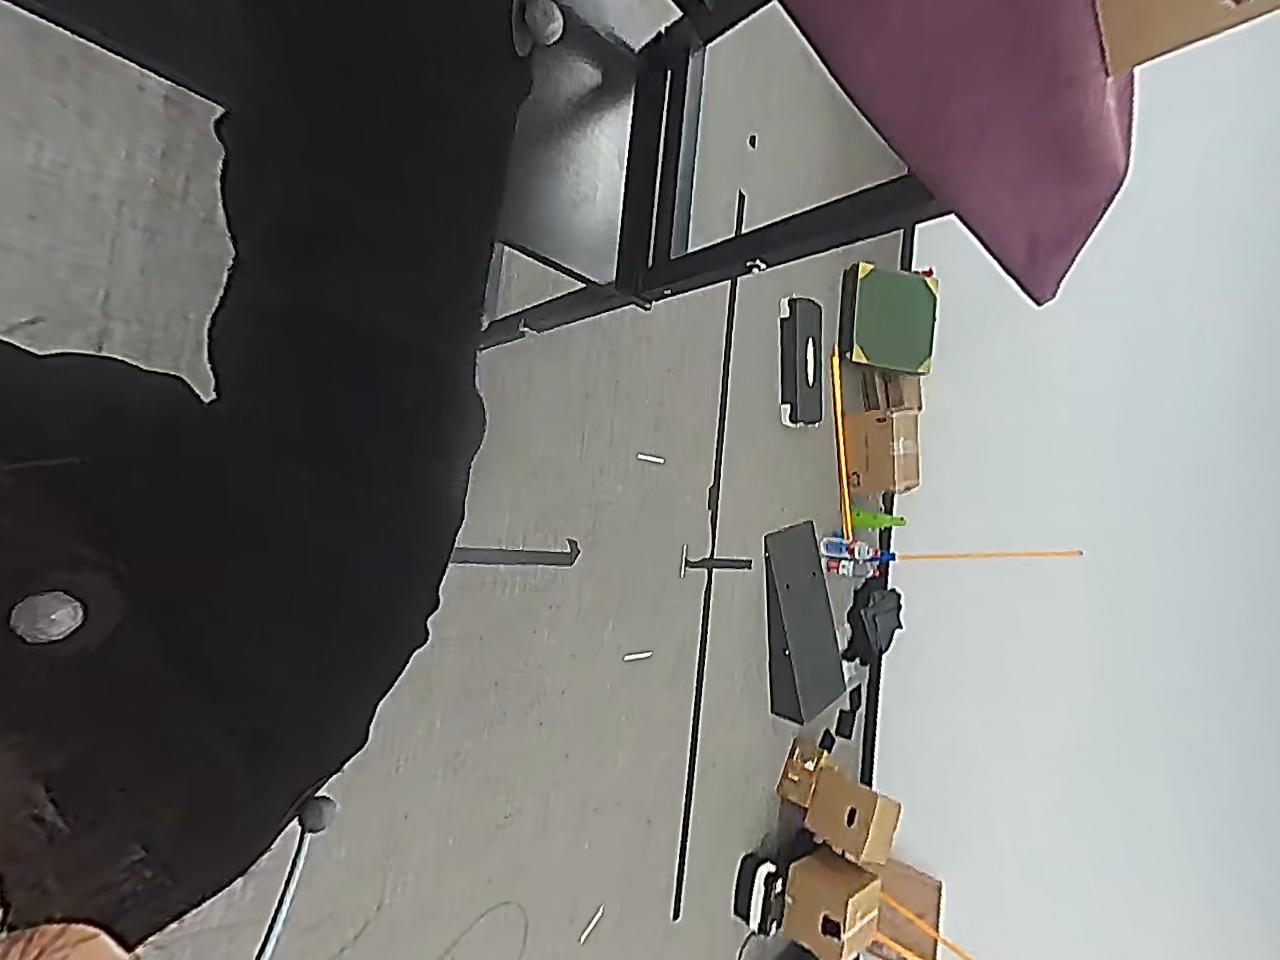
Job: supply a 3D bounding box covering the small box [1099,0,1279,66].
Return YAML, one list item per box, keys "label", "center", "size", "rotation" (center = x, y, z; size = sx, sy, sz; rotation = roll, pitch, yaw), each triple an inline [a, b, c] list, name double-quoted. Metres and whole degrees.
- label: "small box"
  center: [0.465, -0.475, 0.418]
  size: [0.179, 0.176, 0.168]
  rotation: [13, 82, -43]
